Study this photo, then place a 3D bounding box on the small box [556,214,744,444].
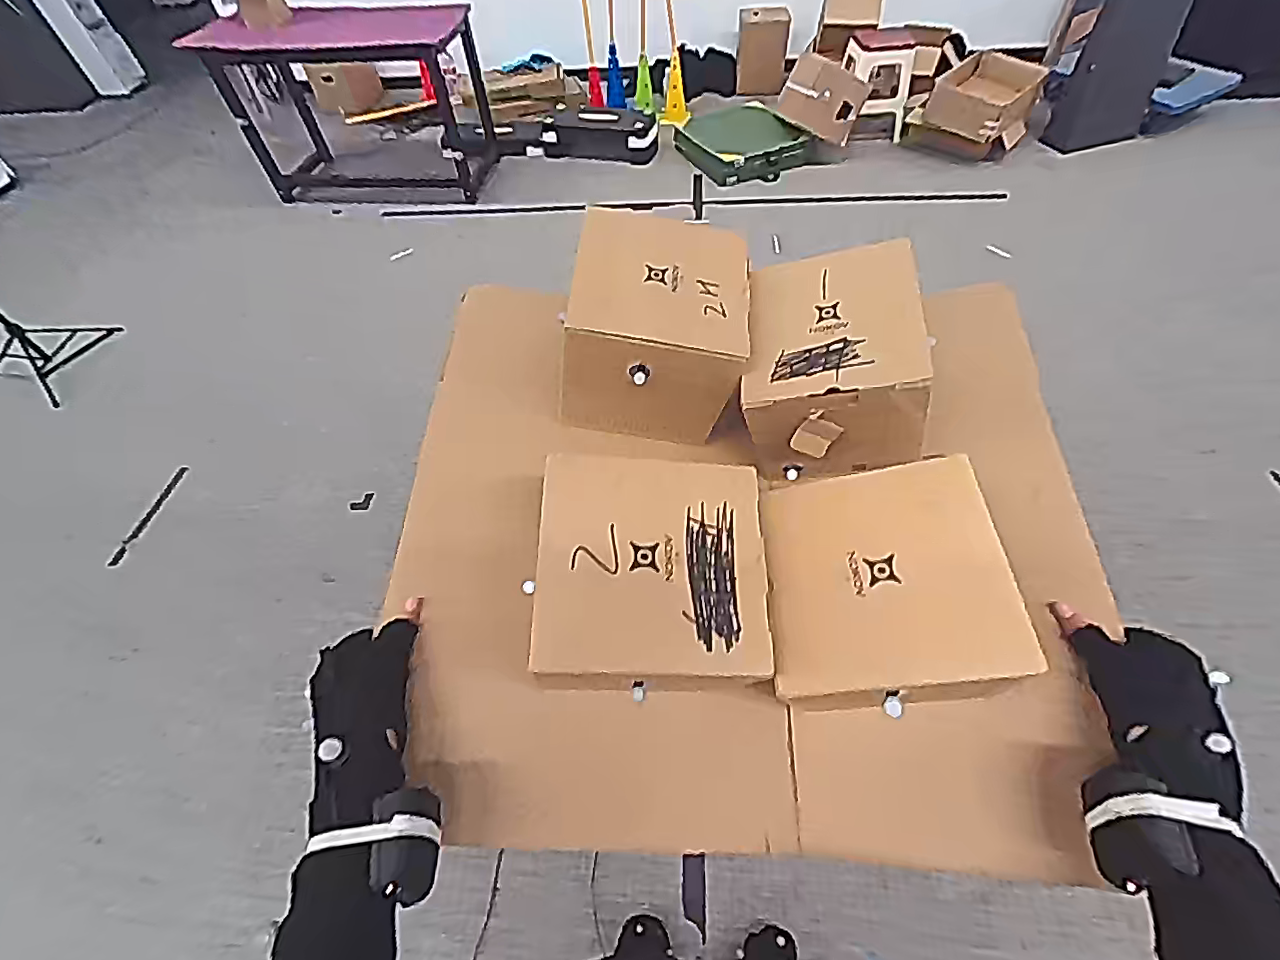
[{"bbox_3d":[0.006,-0.155,0.600,0.179,0.176,0.168,9,64,-6],"label":"small box"}]
